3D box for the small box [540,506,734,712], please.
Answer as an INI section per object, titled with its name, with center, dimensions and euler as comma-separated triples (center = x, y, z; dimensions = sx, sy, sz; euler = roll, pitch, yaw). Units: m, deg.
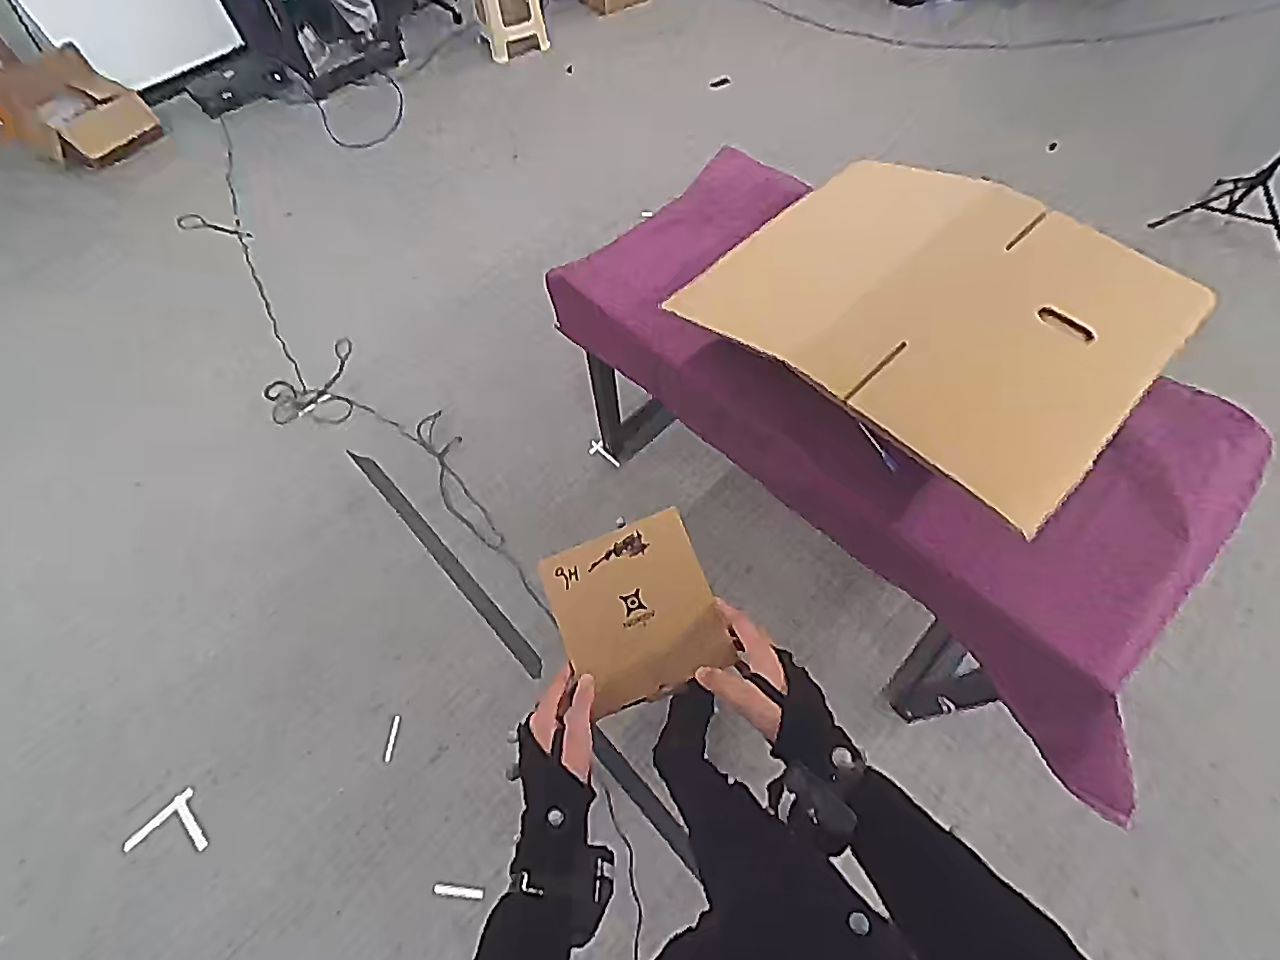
[small box]
center = 0.001, 0.147, 0.654
dimensions = 0.168, 0.176, 0.179
euler = -22, 79, 0
